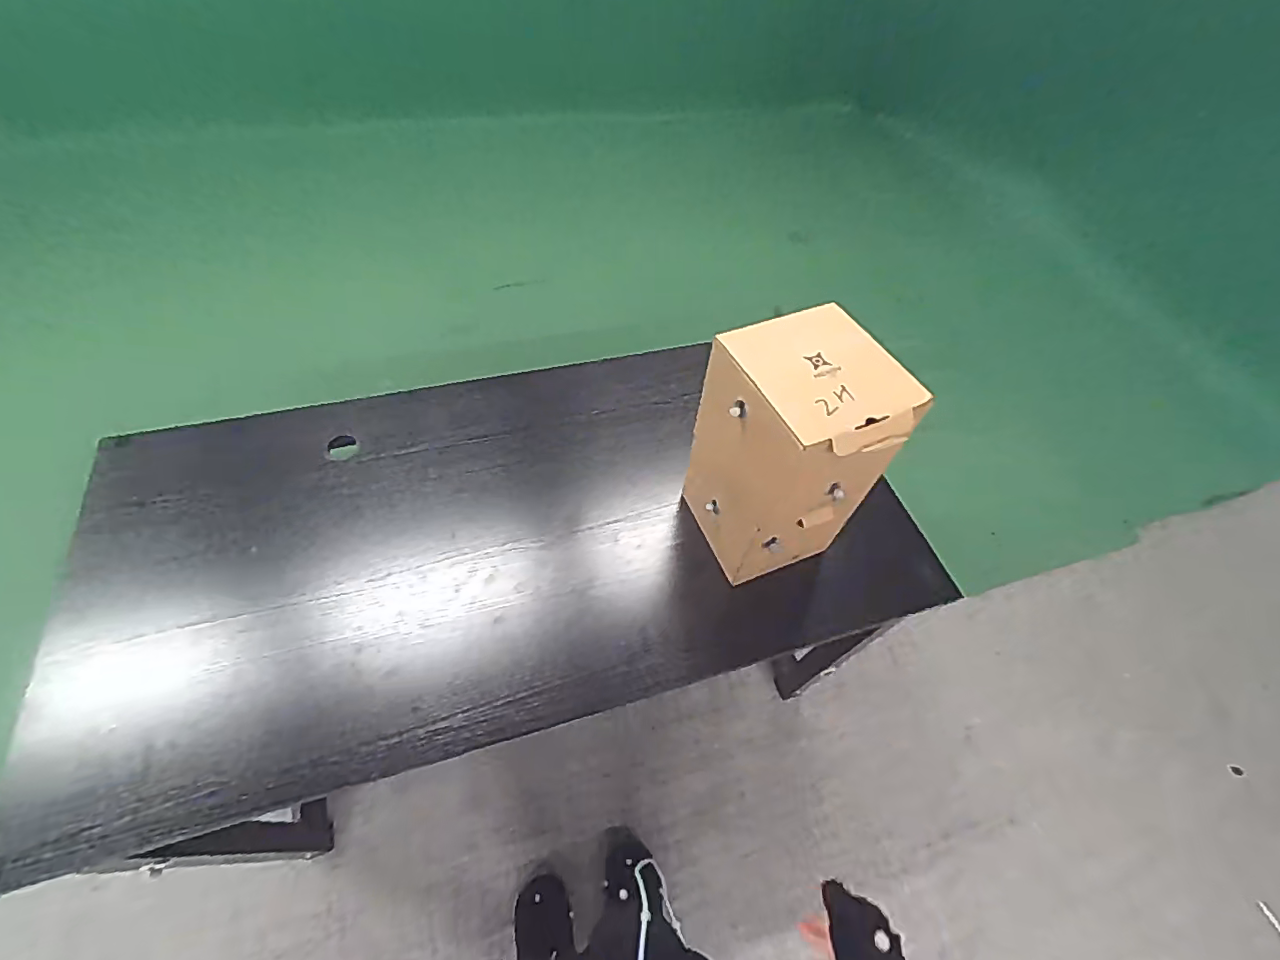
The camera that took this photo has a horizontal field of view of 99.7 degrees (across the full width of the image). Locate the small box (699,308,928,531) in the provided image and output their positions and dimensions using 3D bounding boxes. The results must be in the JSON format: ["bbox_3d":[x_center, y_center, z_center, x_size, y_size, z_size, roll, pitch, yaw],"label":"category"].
[{"bbox_3d":[0.186,-0.070,0.645,0.168,0.176,0.179,-20,59,-16],"label":"small box"}]
